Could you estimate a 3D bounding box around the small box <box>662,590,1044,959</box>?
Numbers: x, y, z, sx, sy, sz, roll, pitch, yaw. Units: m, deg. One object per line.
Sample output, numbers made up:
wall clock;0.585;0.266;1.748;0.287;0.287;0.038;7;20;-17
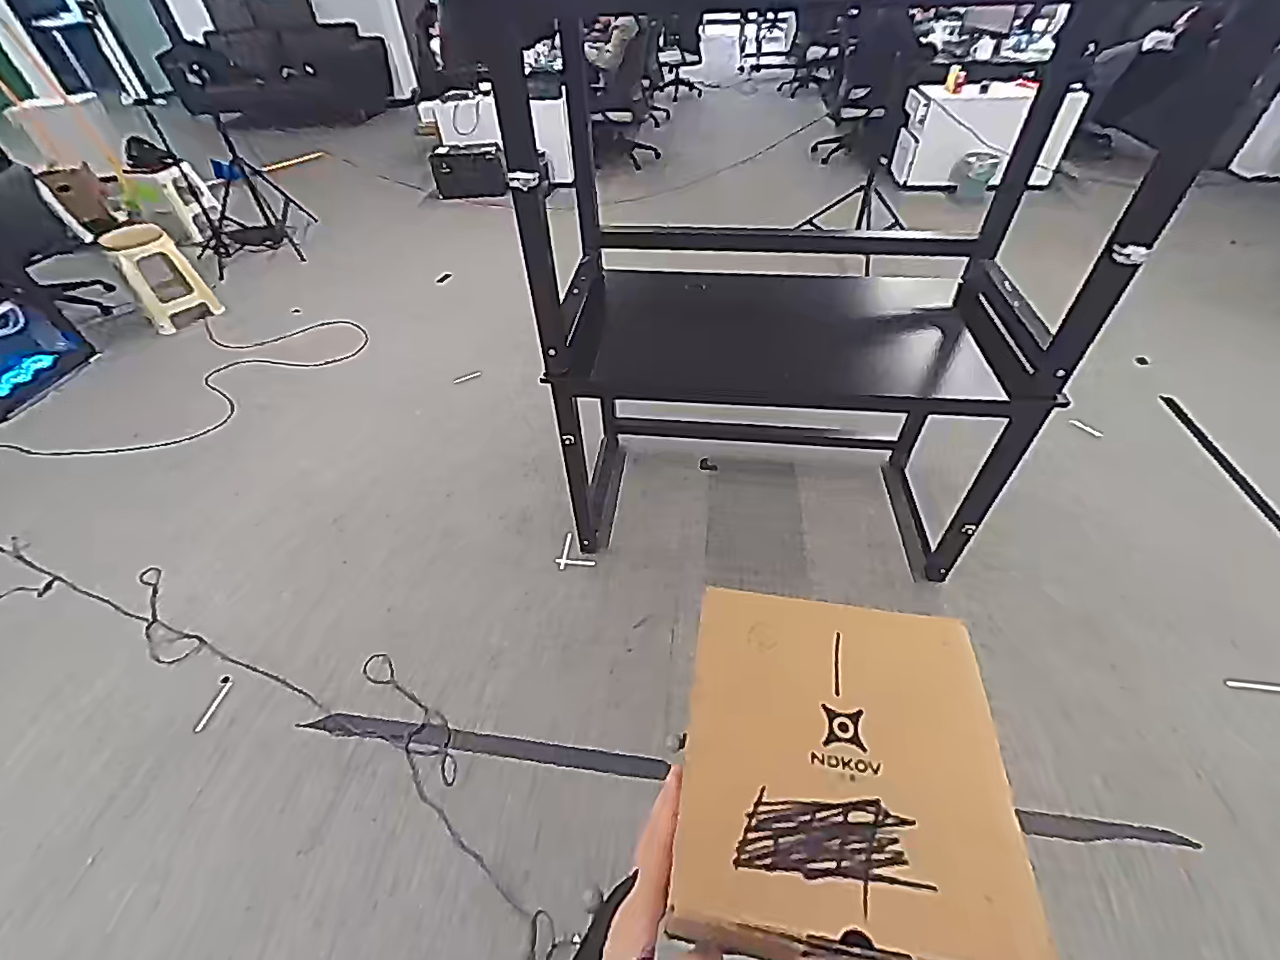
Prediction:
small box;0.109;0.199;0.349;0.168;0.176;0.179;7;46;8
